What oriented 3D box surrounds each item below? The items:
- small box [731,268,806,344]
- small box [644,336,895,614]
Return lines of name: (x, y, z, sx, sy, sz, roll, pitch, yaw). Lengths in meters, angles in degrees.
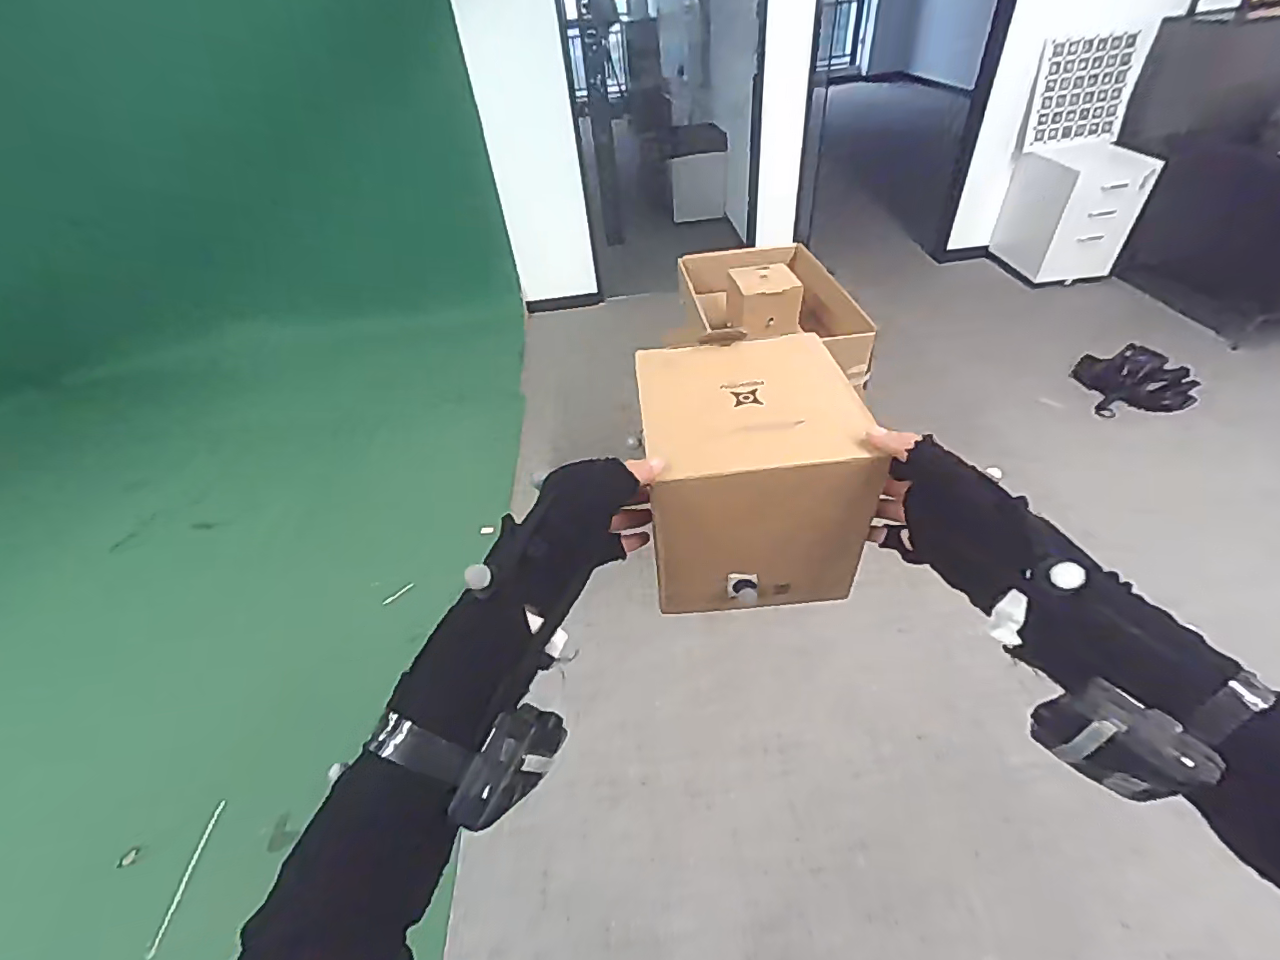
small box: (0.360, -0.481, 1.544, 0.168, 0.176, 0.179, -7, 42, -2)
small box: (0.091, -0.006, 0.476, 0.168, 0.176, 0.179, -5, 42, 1)
